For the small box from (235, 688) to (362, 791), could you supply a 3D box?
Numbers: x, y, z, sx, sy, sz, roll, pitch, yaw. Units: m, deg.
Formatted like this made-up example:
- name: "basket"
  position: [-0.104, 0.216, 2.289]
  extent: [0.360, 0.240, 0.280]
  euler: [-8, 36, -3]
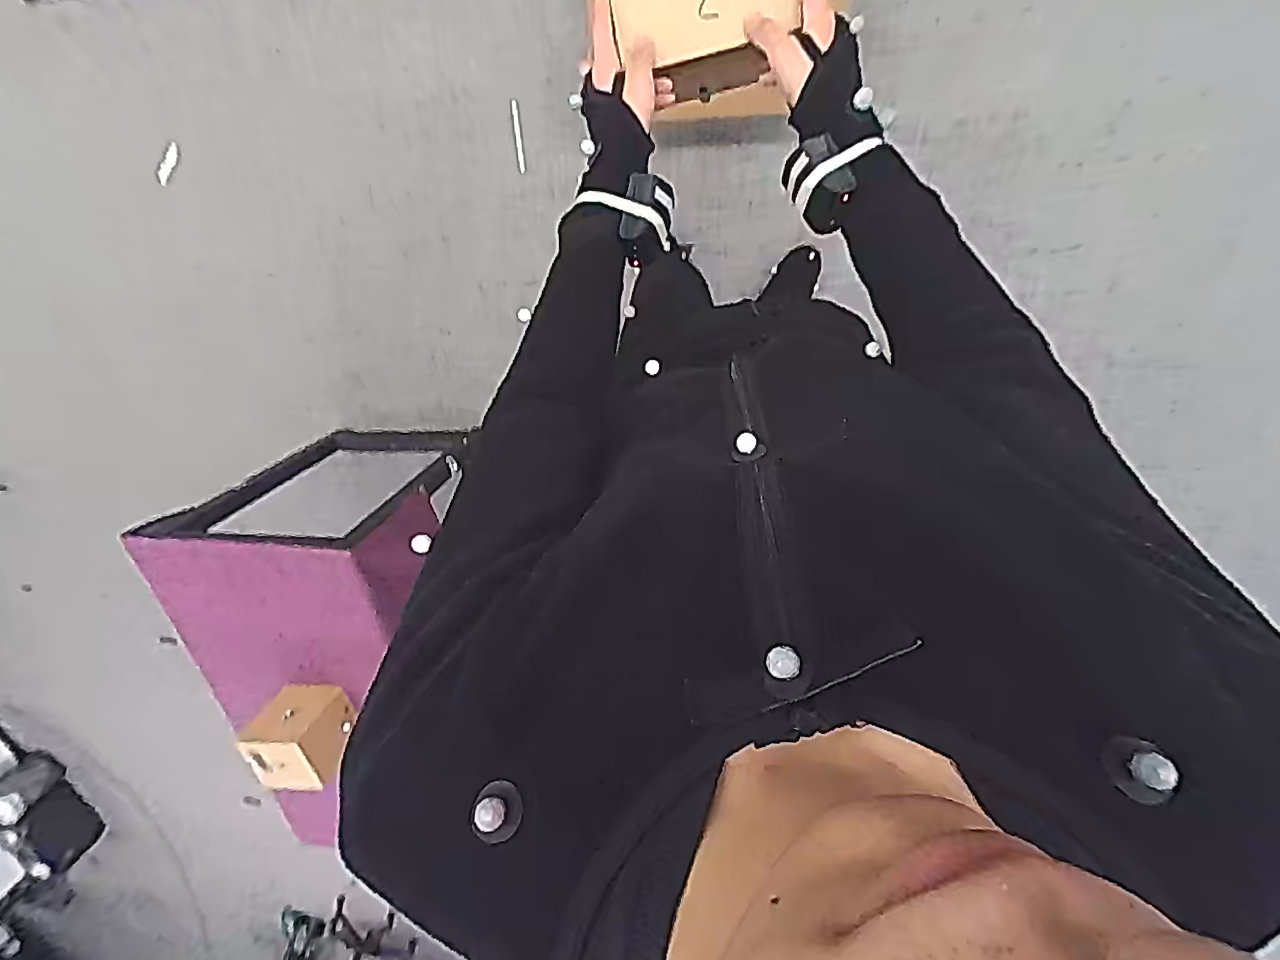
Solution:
- name: "small box"
  position: [-0.838, 0.638, 1.345]
  extent: [0.179, 0.176, 0.168]
  euler: [-4, 116, 12]
